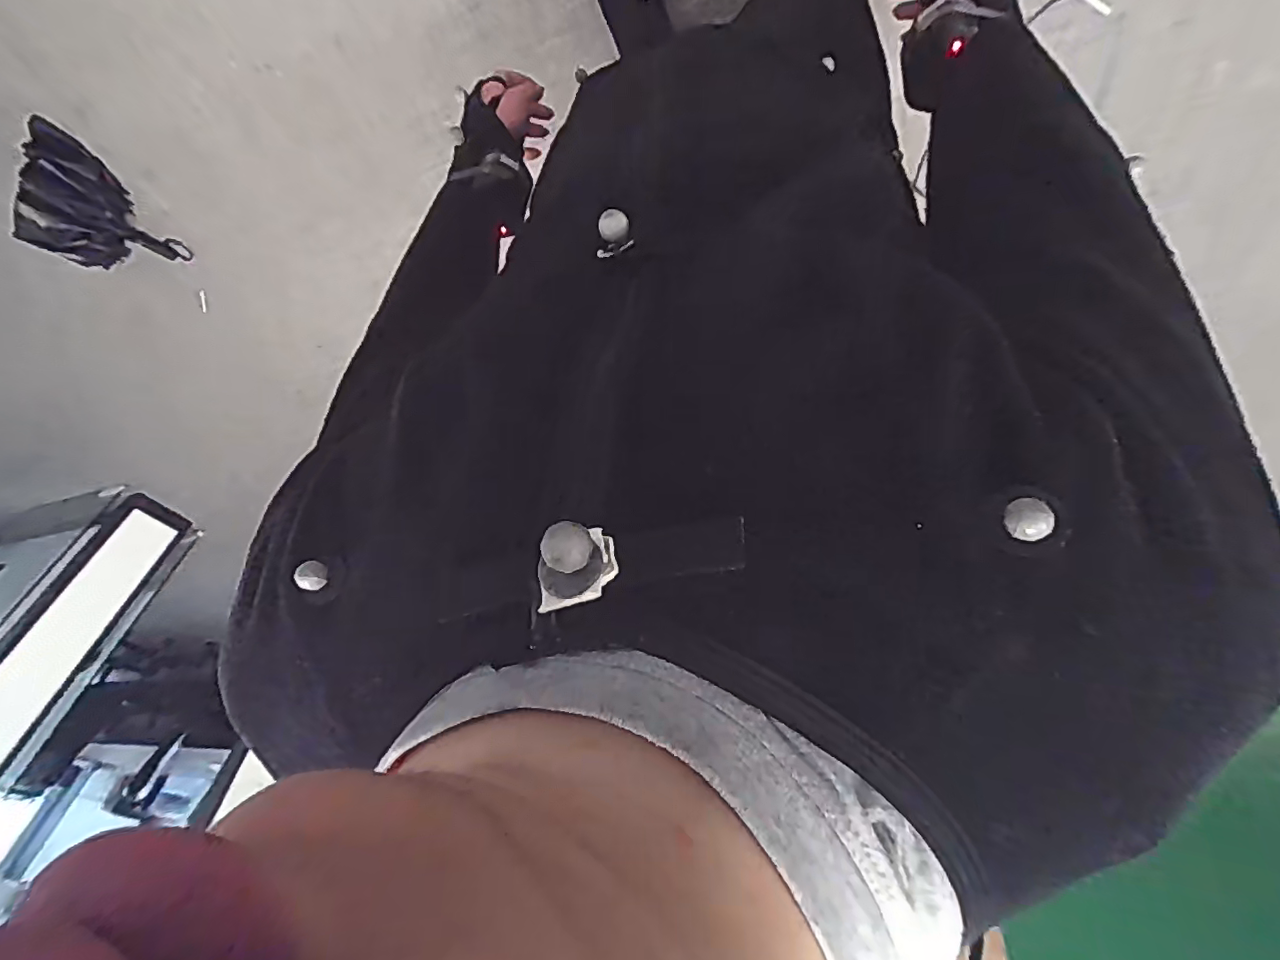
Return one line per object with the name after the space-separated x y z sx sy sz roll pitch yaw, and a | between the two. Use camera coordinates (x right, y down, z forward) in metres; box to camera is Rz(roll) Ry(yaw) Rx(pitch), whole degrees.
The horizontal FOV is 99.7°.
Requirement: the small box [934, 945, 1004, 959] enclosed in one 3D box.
0.886 1.346 1.425 0.168 0.176 0.179 -12 136 21 | small box
